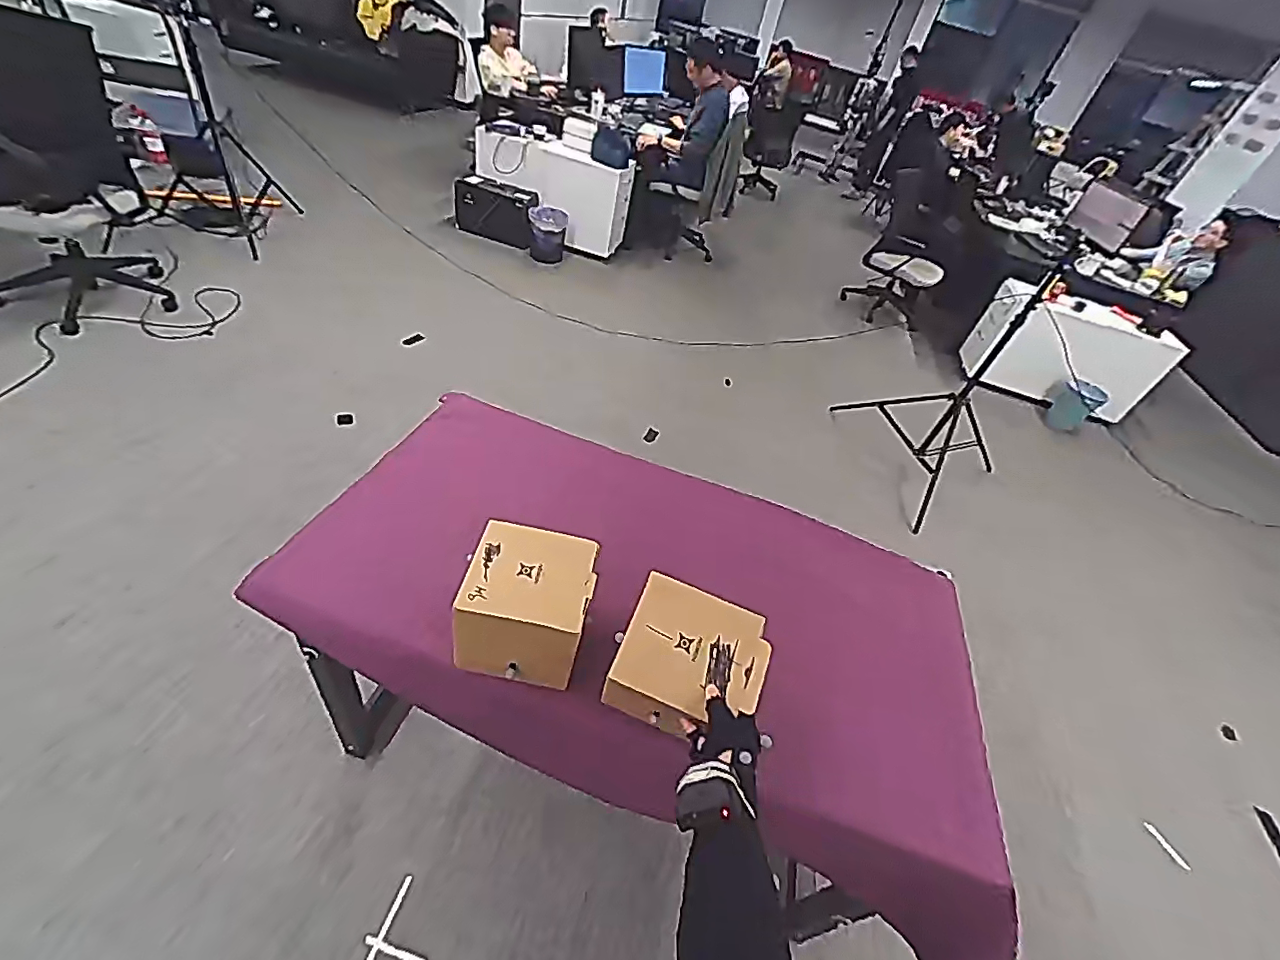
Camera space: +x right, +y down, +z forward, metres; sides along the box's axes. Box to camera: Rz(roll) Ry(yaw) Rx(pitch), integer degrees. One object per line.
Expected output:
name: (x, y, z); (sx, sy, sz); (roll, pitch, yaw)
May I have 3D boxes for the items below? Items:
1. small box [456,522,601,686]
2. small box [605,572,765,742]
small box: (-0.171, 0.195, 0.835); (0.179, 0.176, 0.168); (13, 41, -4)
small box: (0.060, 0.268, 0.799); (0.179, 0.176, 0.168); (21, 56, 8)
